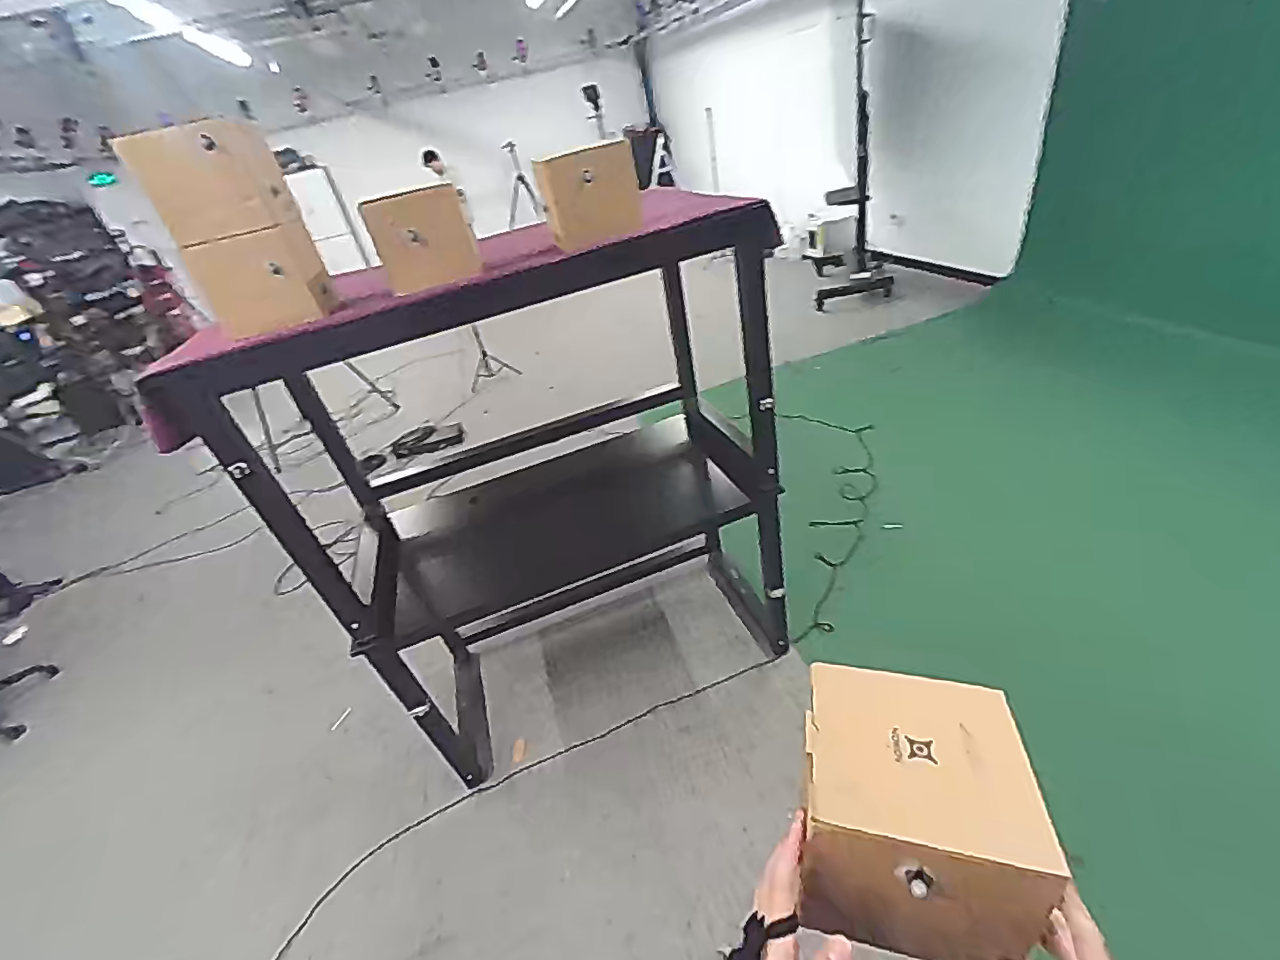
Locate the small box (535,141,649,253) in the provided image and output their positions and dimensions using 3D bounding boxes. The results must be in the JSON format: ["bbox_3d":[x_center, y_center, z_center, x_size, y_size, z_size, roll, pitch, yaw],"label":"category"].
[{"bbox_3d":[-0.099,-0.586,1.122,0.179,0.176,0.168,-20,35,-8],"label":"small box"}]

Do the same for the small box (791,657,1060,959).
[{"bbox_3d":[0.233,0.293,0.493,0.179,0.176,0.168,4,29,16],"label":"small box"}]

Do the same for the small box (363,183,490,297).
[{"bbox_3d":[-0.417,-0.481,1.085,0.179,0.176,0.168,-18,33,-6],"label":"small box"}]

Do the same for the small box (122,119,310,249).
[{"bbox_3d":[-0.738,-0.524,0.967,0.179,0.176,0.168,-16,32,-6],"label":"small box"}]
